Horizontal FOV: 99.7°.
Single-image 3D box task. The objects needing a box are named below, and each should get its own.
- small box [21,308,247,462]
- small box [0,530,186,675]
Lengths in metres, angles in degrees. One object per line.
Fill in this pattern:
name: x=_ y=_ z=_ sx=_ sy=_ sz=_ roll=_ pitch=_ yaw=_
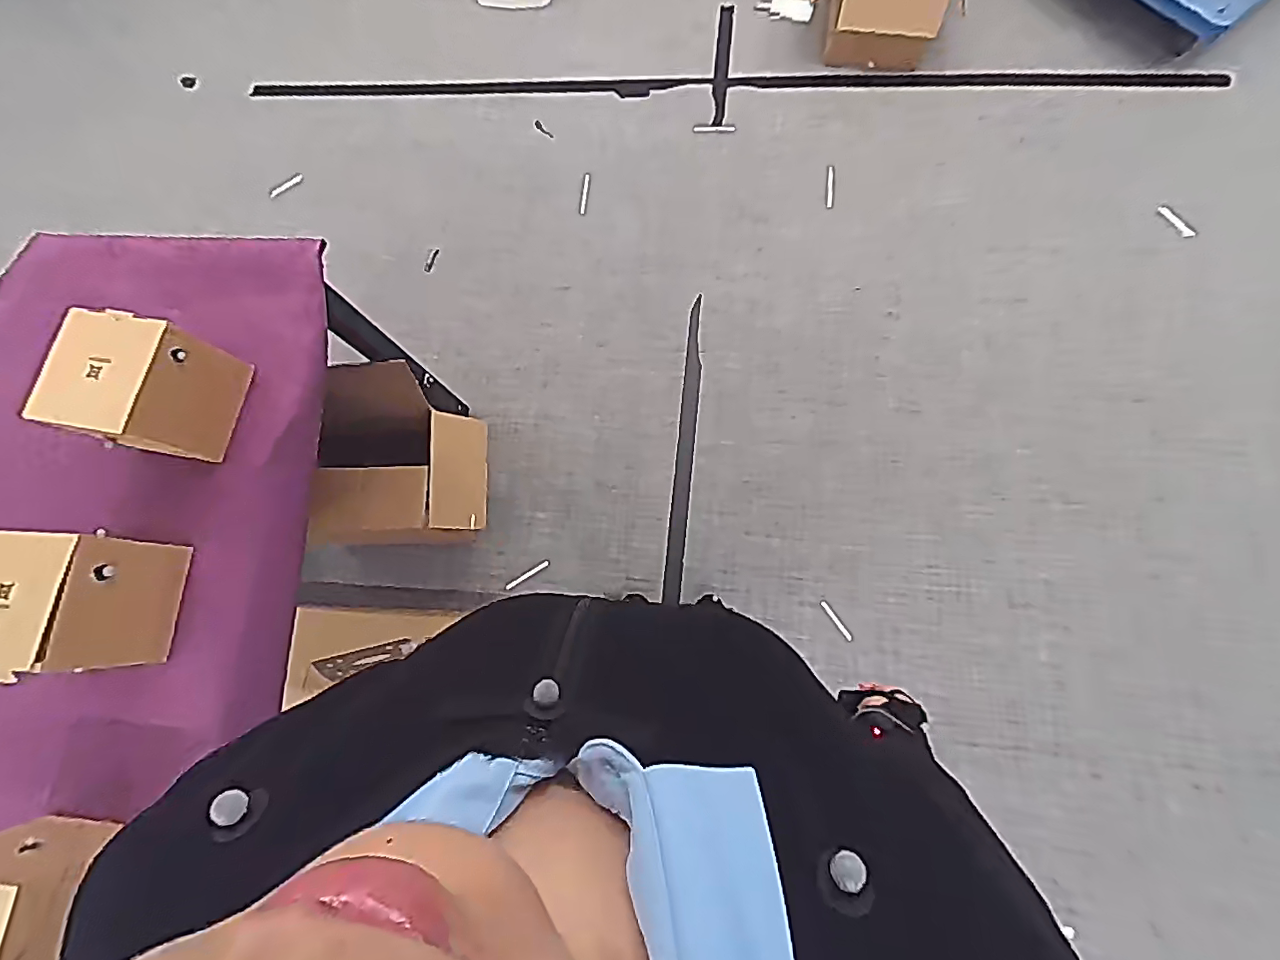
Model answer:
small box: x=-0.761 y=-0.137 z=0.836 sx=0.168 sy=0.176 sz=0.179 roll=9 pitch=78 yaw=7
small box: x=-0.803 y=0.171 z=0.767 sx=0.168 sy=0.176 sz=0.179 roll=1 pitch=77 yaw=8
